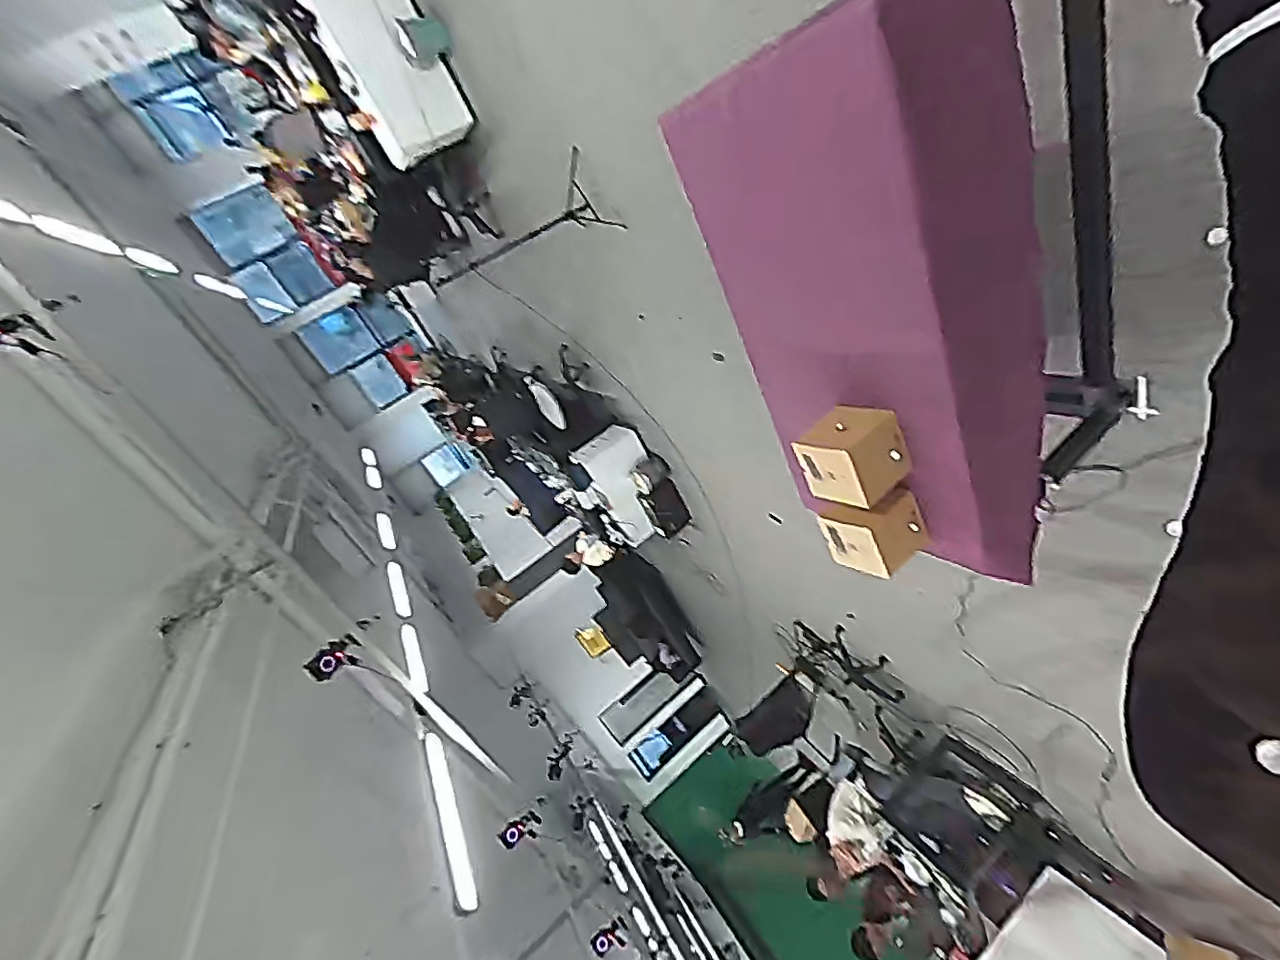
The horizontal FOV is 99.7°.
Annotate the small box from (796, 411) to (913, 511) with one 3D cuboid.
[{"bbox_3d":[0.518,-0.054,1.306,0.168,0.176,0.179,60,163,-23],"label":"small box"}]
